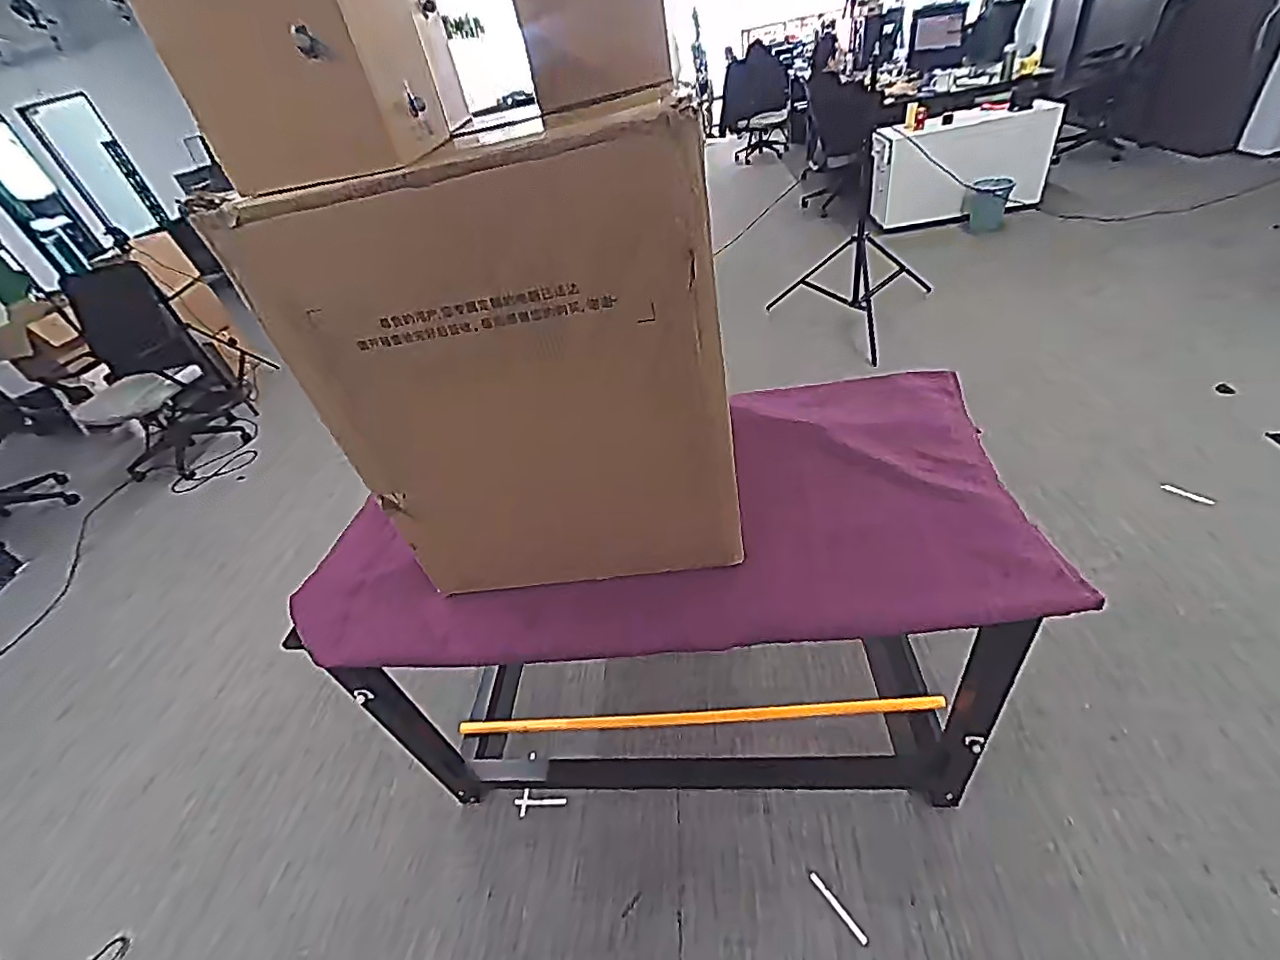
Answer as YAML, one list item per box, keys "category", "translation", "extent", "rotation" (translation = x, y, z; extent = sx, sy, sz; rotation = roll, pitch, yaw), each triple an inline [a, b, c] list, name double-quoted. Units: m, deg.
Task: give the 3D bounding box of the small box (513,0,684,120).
- category: "small box"
  translation: [-0.043, -0.576, 0.675]
  extent: [0.179, 0.176, 0.168]
  rotation: [-4, 40, 13]
